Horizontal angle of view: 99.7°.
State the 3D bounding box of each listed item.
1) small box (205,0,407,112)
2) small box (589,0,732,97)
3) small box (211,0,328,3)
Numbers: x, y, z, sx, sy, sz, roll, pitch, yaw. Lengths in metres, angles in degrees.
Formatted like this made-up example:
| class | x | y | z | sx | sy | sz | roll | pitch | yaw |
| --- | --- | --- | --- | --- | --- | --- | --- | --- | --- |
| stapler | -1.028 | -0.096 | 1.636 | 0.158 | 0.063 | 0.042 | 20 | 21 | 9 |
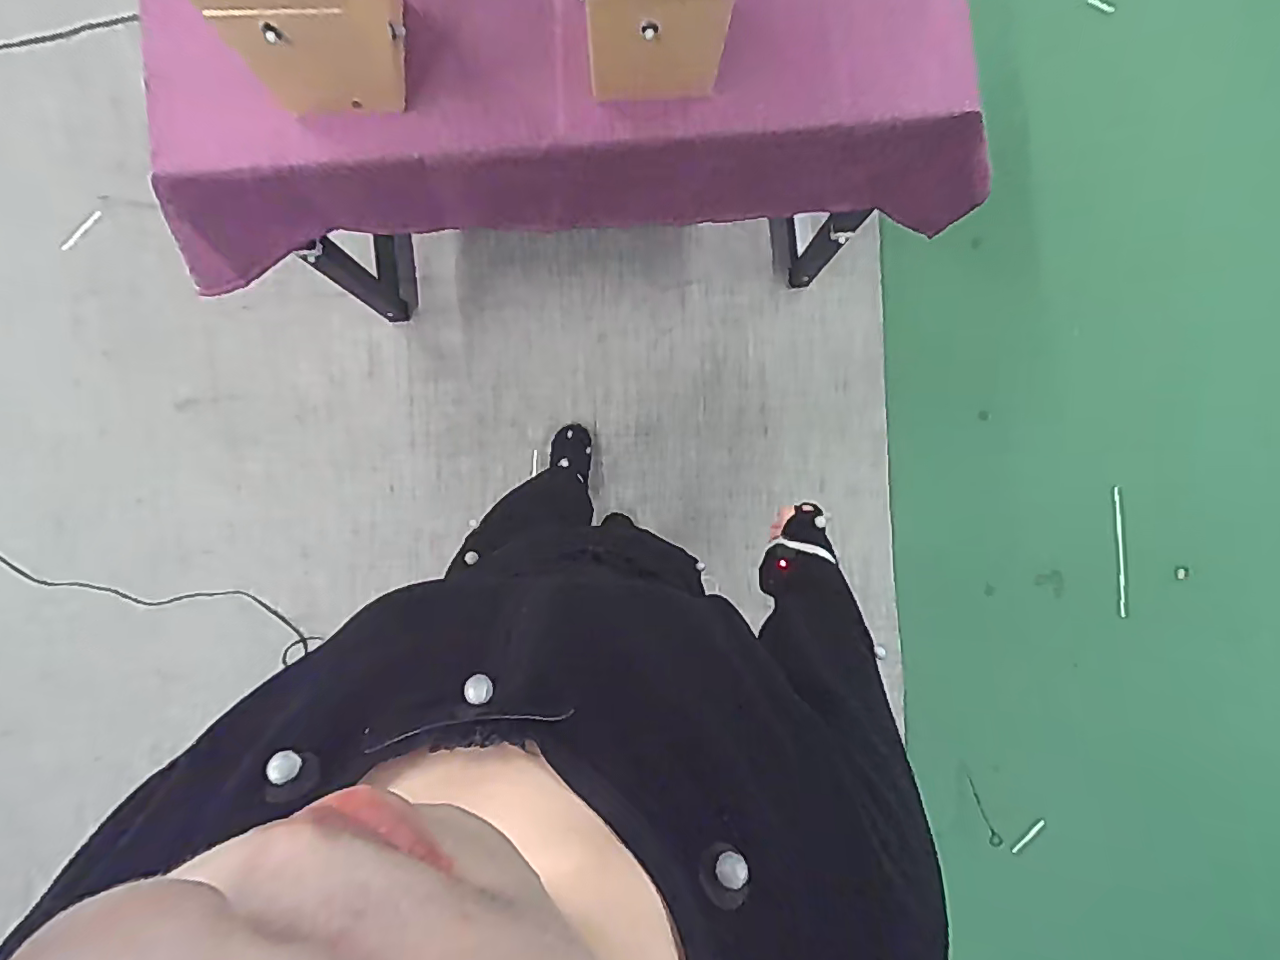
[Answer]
| class | x | y | z | sx | sy | sz | roll | pitch | yaw |
| --- | --- | --- | --- | --- | --- | --- | --- | --- | --- |
| small box | -0.414 | -0.616 | 0.694 | 0.168 | 0.176 | 0.179 | -2 | 88 | -1 |
| small box | 0.022 | -0.638 | 0.706 | 0.179 | 0.176 | 0.168 | -3 | 89 | -2 |
| small box | -0.409 | -0.619 | 0.531 | 0.179 | 0.176 | 0.168 | -1 | 89 | -1 |
